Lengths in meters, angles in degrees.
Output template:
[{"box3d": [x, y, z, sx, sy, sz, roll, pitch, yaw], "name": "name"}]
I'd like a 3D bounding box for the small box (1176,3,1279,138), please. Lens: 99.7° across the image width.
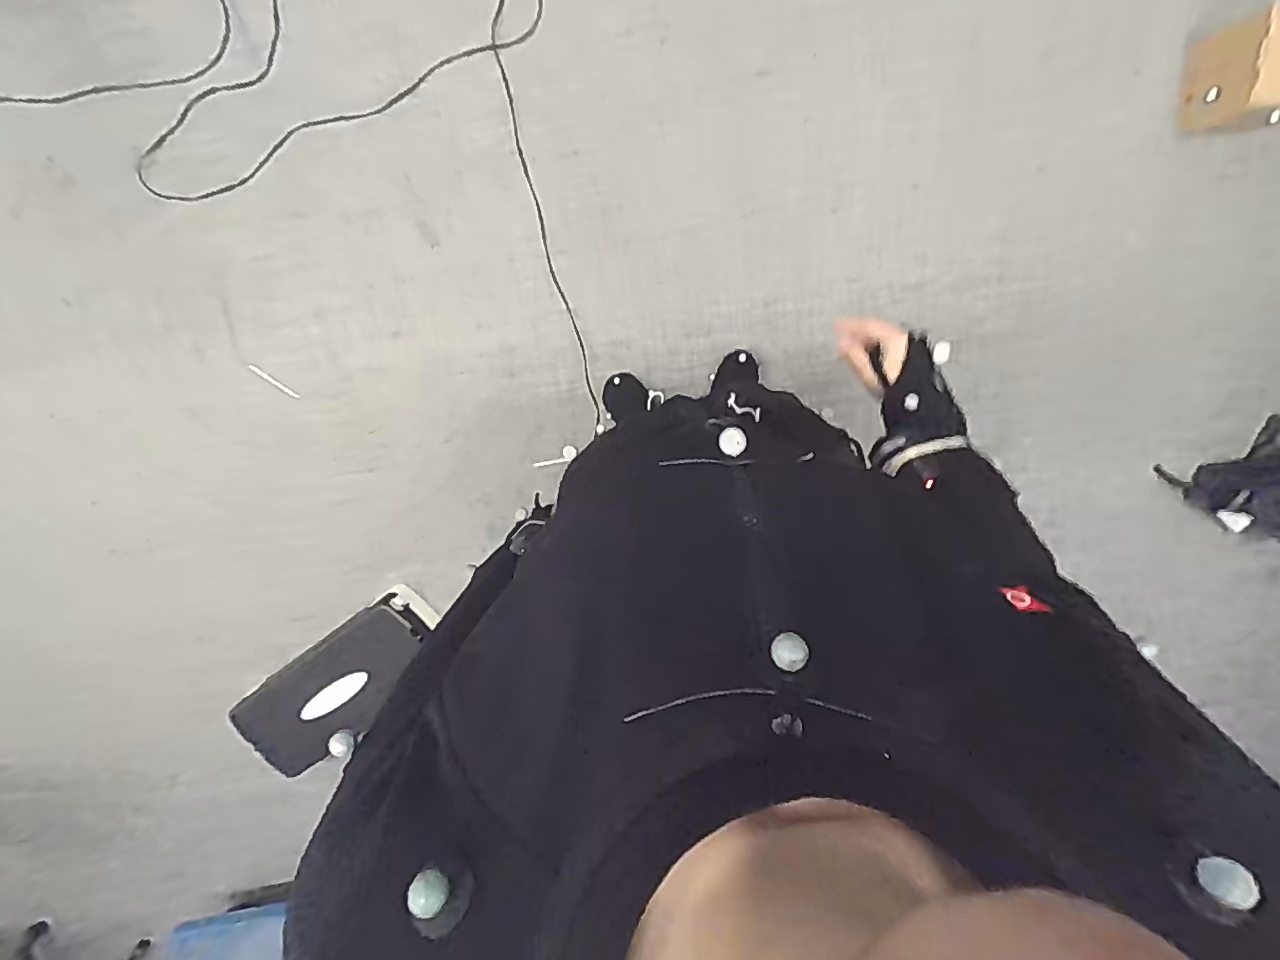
[{"box3d": [1.195, -0.773, 1.030, 0.179, 0.176, 0.168, -2, 105, 3], "name": "small box"}]
